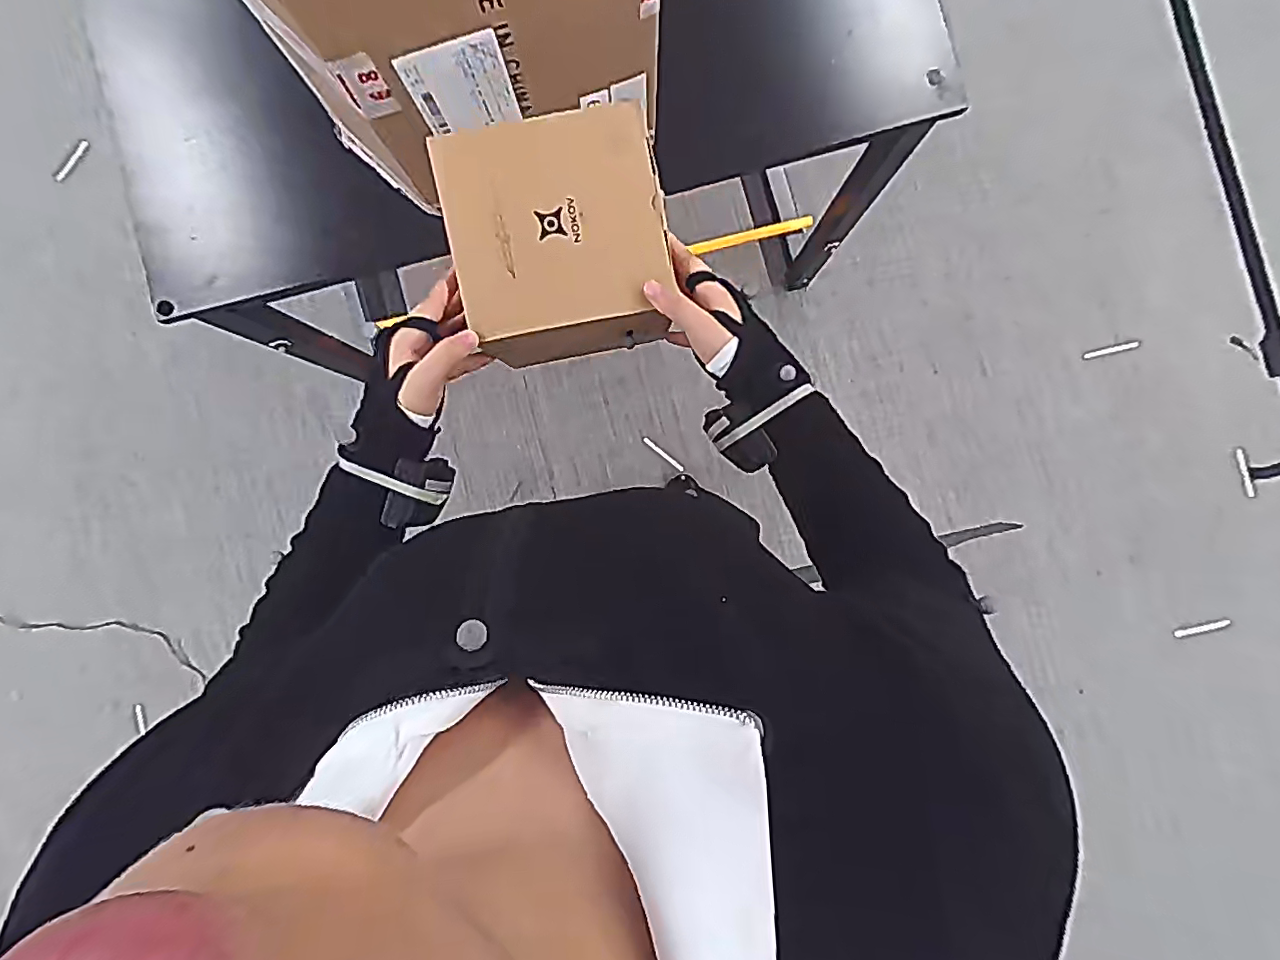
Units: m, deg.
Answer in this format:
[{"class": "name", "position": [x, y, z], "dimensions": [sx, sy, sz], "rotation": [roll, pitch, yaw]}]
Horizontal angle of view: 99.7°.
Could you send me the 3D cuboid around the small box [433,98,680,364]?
[{"class": "small box", "position": [-0.069, -0.217, 0.518], "dimensions": [0.179, 0.176, 0.168], "rotation": [-12, 94, 0]}]
